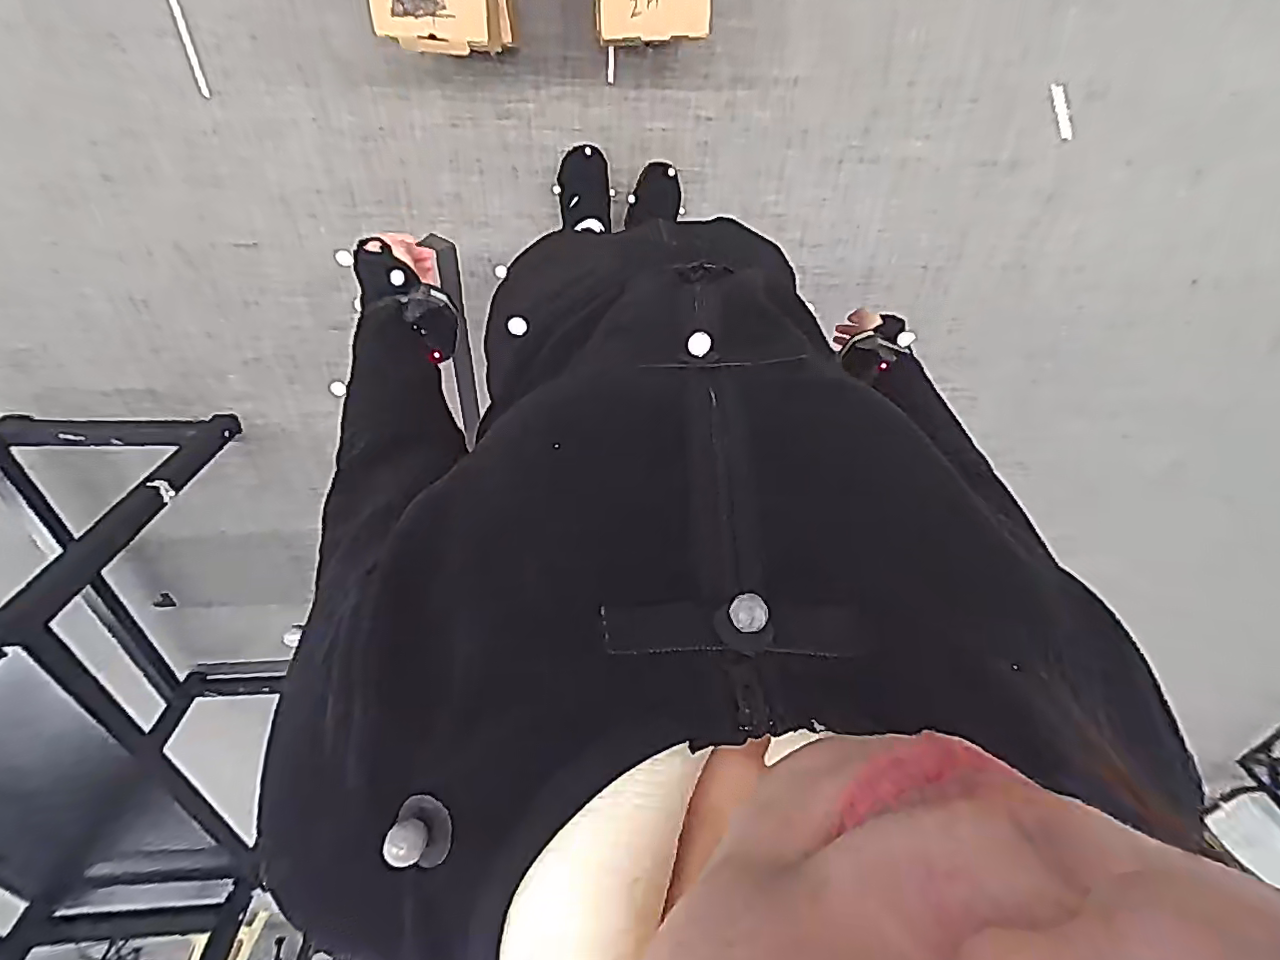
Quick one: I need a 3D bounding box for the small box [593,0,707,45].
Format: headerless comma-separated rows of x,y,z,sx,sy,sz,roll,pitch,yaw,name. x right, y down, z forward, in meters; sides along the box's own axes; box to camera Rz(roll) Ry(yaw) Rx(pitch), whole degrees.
0.010,-0.783,0.826,0.168,0.176,0.179,-3,127,-3,small box

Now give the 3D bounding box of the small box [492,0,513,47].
-0.319,-0.862,0.937,0.179,0.176,0.168,-2,126,-5,small box

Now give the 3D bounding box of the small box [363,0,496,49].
-0.313,-0.763,0.807,0.168,0.176,0.179,0,125,-7,small box
